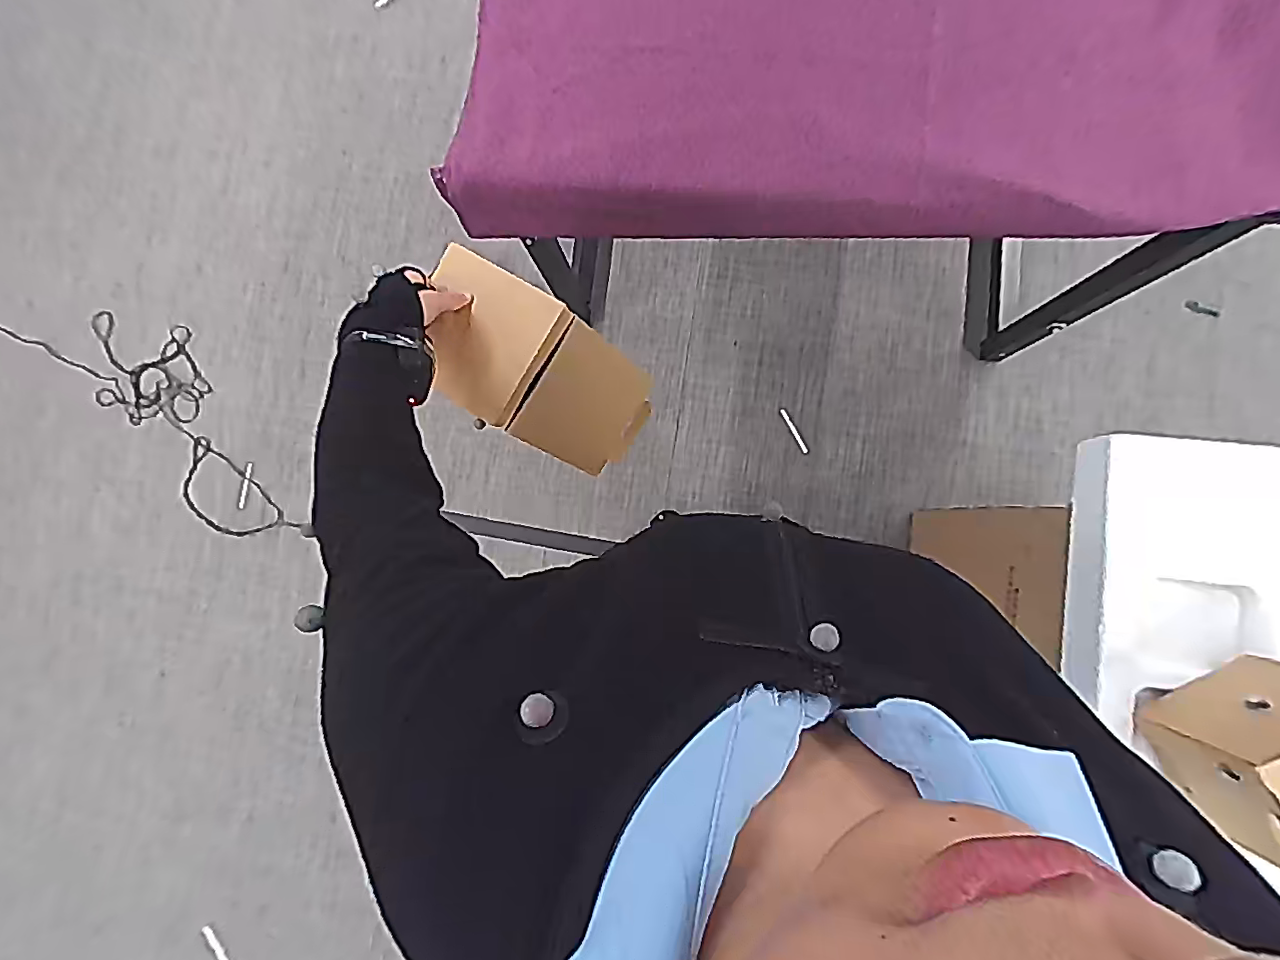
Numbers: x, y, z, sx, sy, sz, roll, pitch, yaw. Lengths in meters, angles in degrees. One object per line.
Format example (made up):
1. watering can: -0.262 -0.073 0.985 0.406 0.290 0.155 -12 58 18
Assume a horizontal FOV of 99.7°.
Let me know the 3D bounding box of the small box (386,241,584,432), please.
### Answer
1. small box: -0.190 -0.177 0.727 0.179 0.176 0.168 32 91 -1
